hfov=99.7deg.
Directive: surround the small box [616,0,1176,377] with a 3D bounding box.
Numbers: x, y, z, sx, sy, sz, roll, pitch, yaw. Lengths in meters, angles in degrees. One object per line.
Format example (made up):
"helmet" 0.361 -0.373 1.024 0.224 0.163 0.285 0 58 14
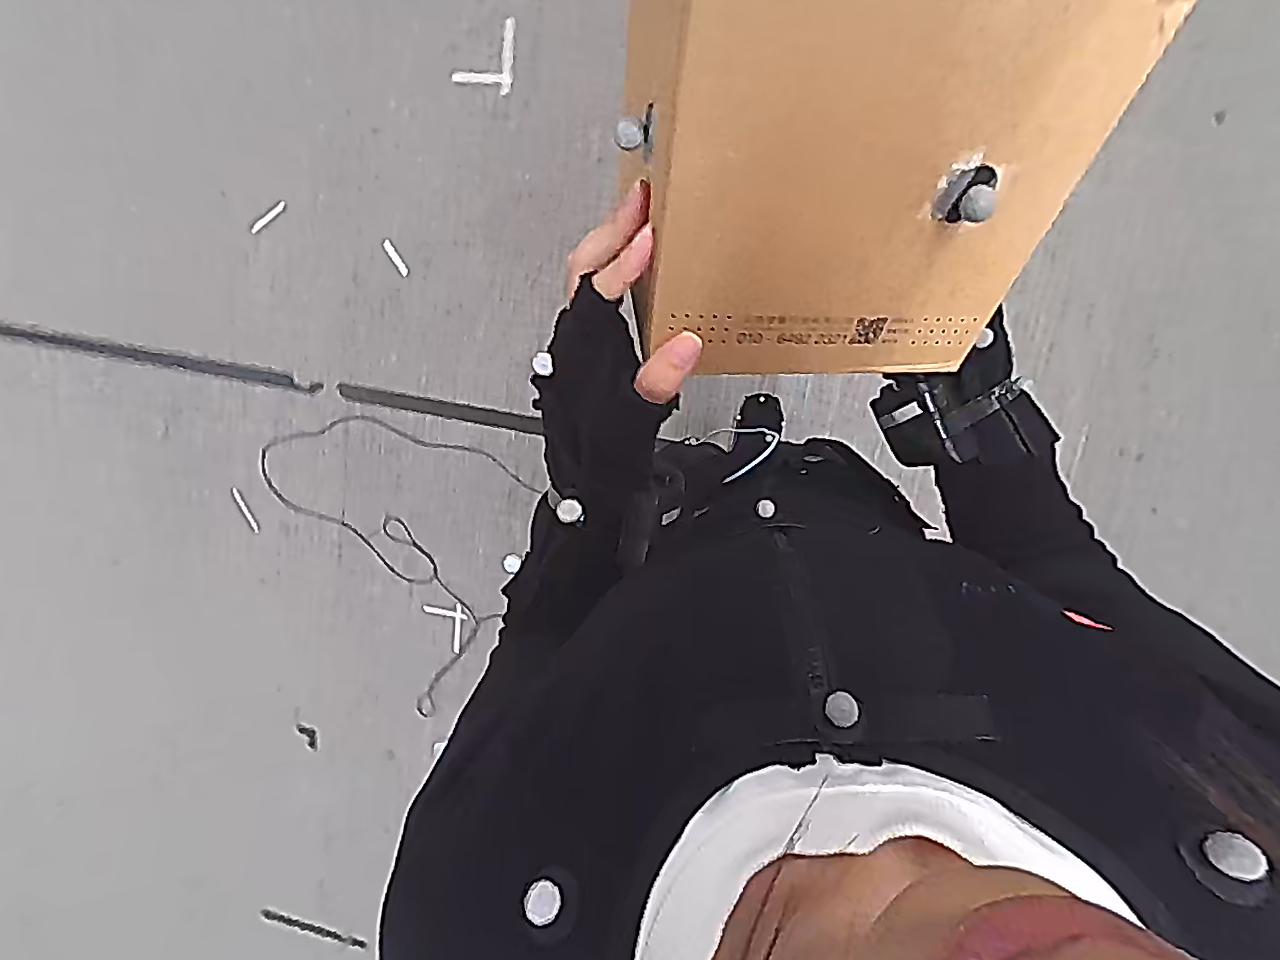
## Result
"small box" 0.079 -0.166 0.273 0.168 0.179 0.176 -3 139 -9
